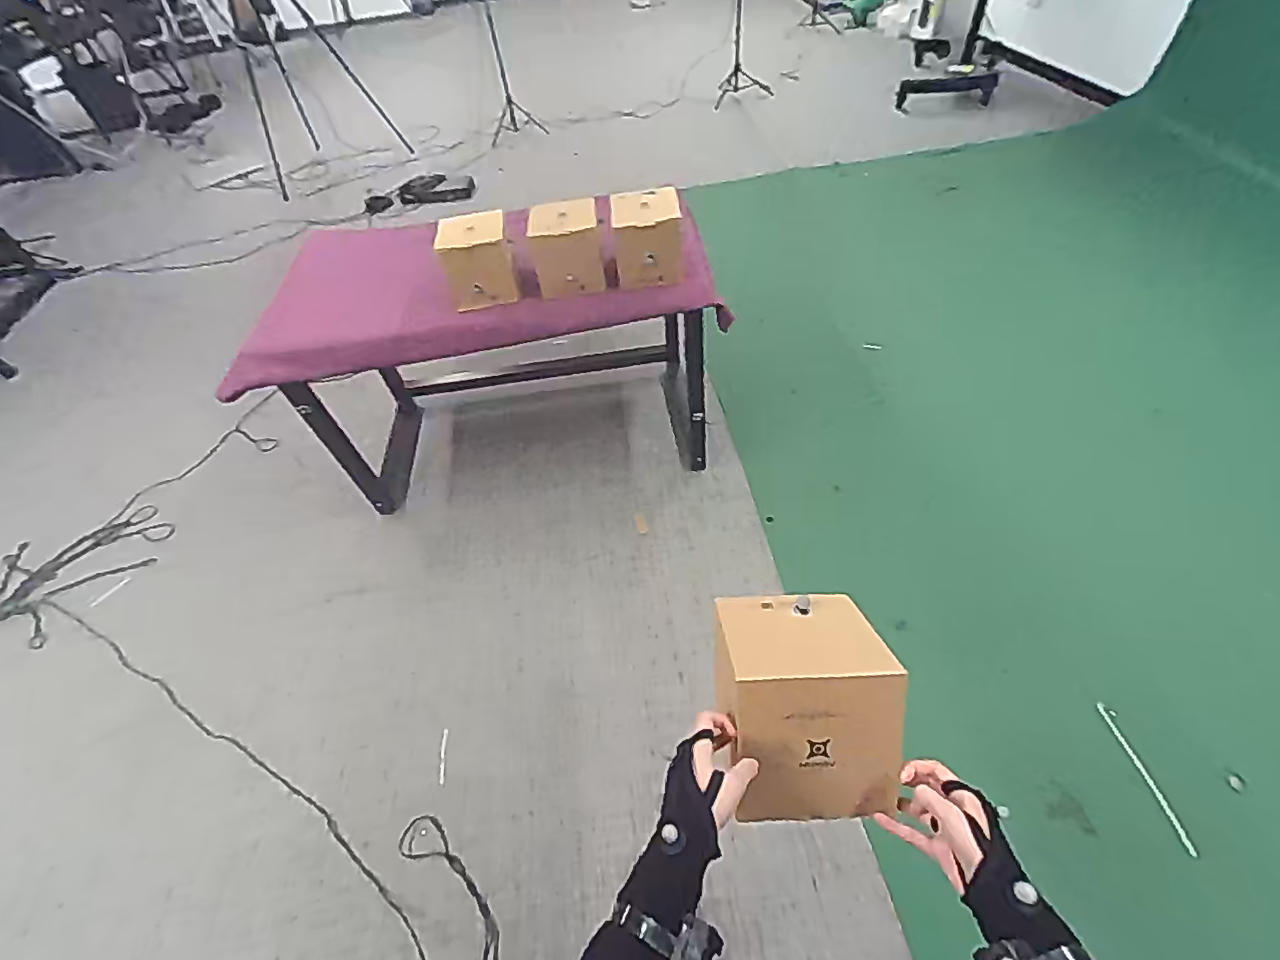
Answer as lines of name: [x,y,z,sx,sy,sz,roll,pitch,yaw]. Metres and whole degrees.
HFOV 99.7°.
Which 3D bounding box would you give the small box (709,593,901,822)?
small box: [0.170,0.246,0.611,0.168,0.179,0.176,-3,16,1]
